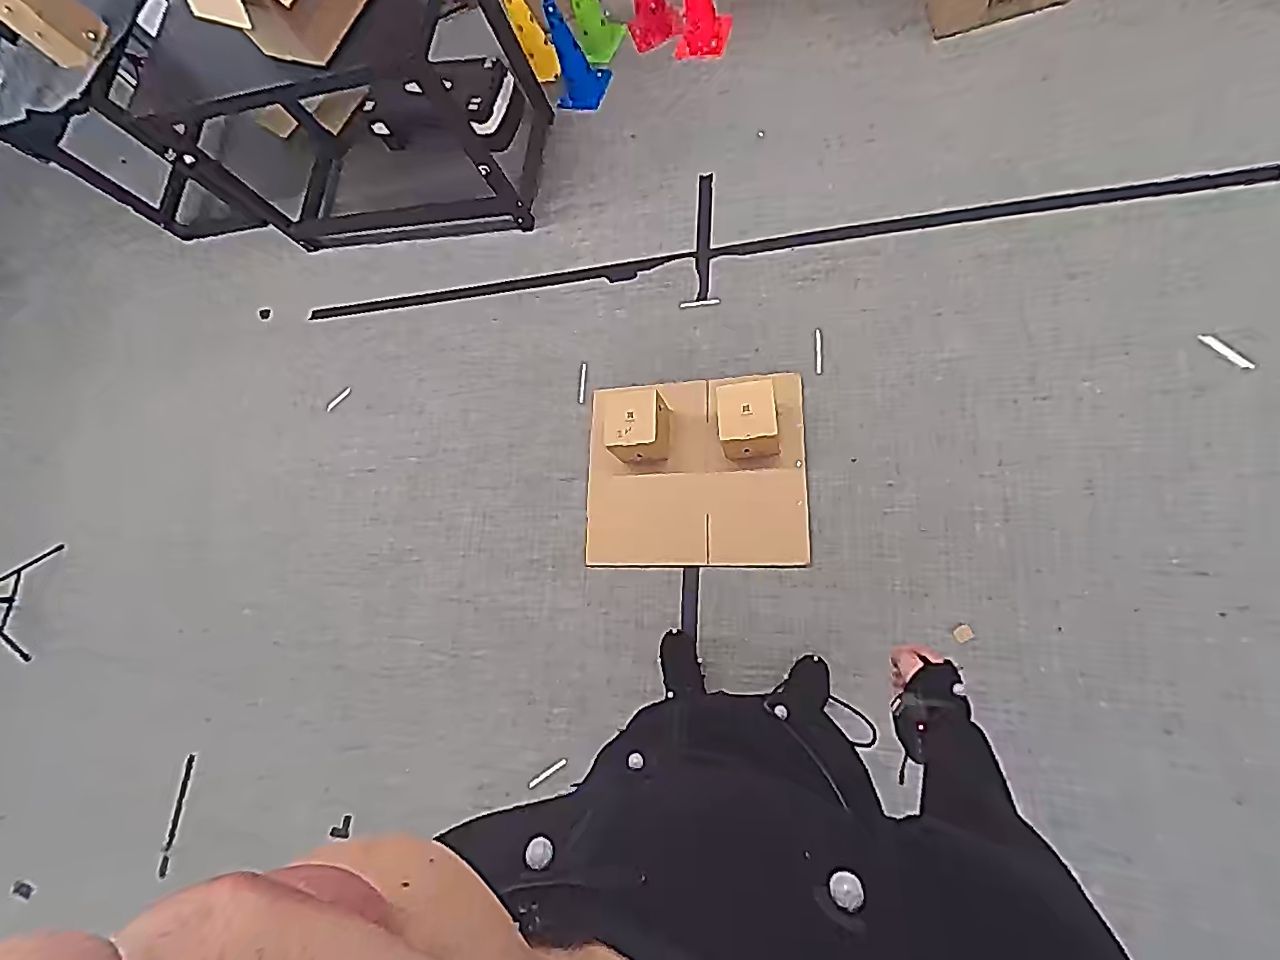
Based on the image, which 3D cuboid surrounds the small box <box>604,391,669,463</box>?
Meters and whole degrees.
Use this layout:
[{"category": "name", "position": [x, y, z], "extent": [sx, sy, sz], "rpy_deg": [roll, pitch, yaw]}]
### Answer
[{"category": "small box", "position": [-0.006, -0.163, 1.716], "extent": [0.168, 0.176, 0.179], "rpy_deg": [-3, 75, 17]}]

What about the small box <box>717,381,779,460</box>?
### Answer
[{"category": "small box", "position": [0.326, -0.174, 1.627], "extent": [0.168, 0.176, 0.179], "rpy_deg": [-6, 74, 15]}]
